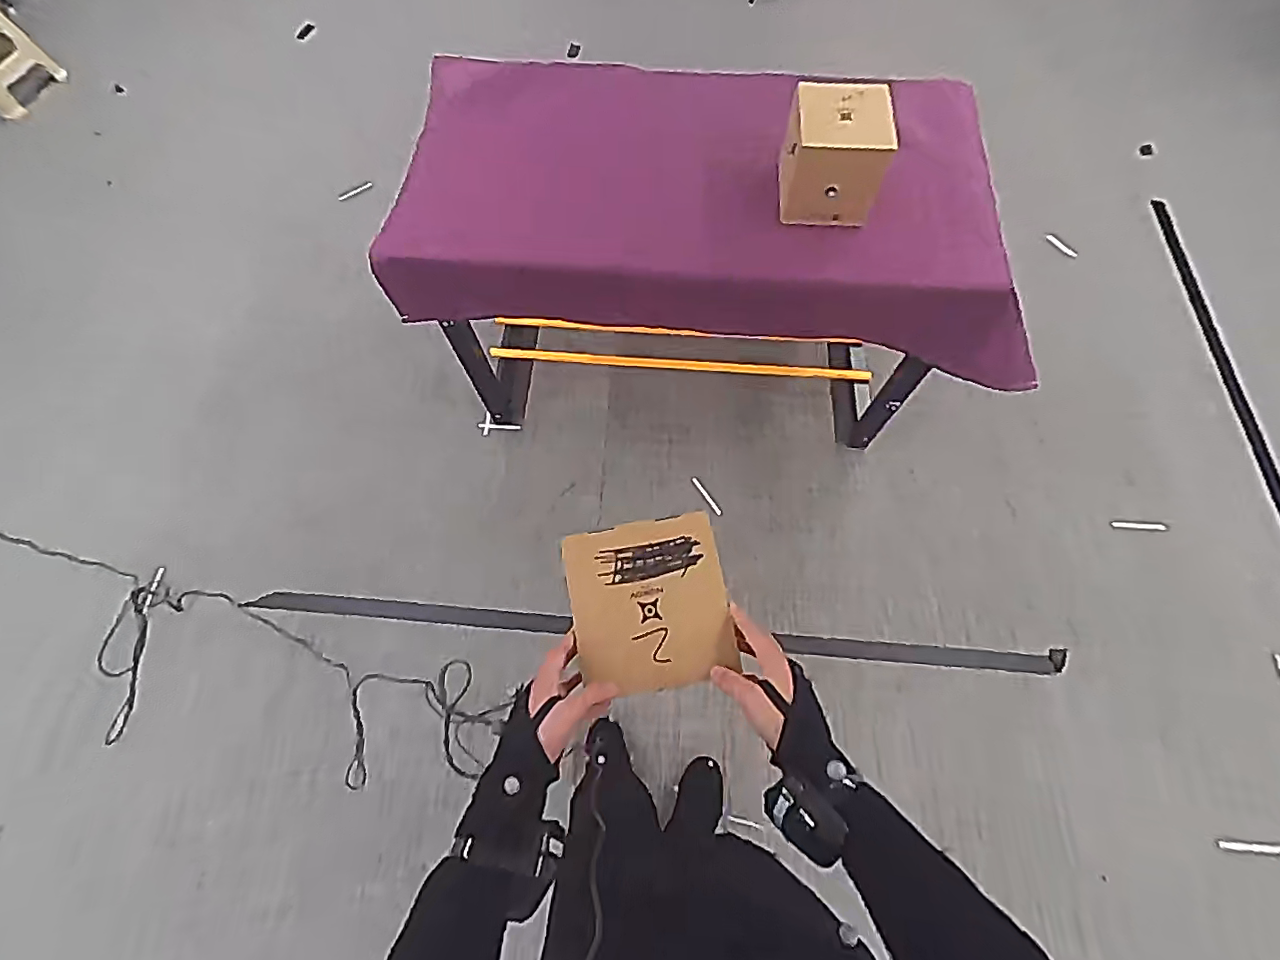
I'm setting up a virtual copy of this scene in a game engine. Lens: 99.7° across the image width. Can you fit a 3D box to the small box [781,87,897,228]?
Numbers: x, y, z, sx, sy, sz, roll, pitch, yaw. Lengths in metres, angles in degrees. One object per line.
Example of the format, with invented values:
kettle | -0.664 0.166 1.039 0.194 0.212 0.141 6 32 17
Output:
small box | 0.372 -0.613 1.039 0.168 0.176 0.179 4 68 2
